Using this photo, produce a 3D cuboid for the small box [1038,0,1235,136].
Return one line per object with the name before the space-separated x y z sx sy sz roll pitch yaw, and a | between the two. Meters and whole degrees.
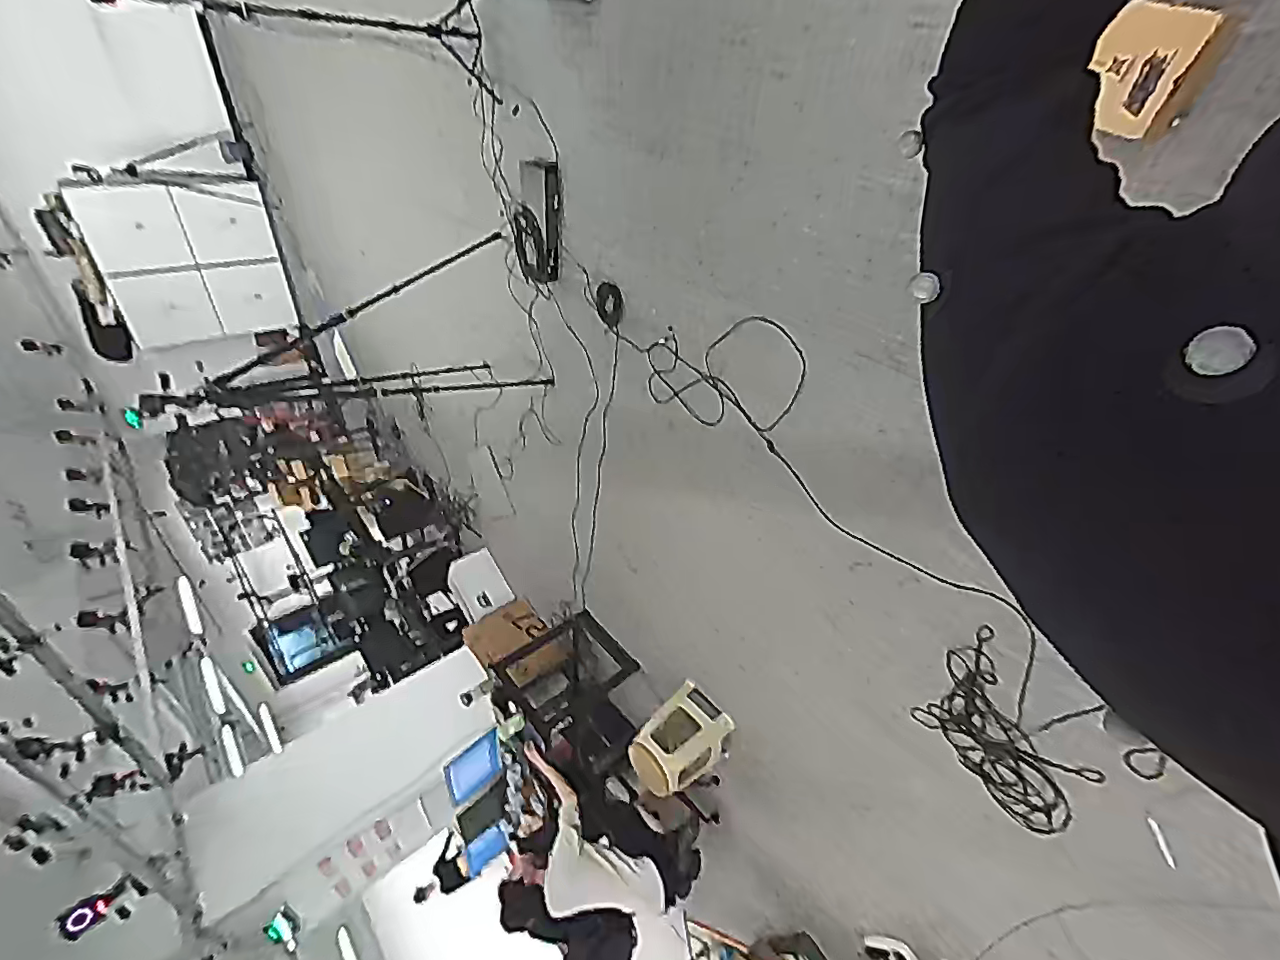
small box | 0.849 -0.711 0.928 0.179 0.176 0.168 44 140 29
